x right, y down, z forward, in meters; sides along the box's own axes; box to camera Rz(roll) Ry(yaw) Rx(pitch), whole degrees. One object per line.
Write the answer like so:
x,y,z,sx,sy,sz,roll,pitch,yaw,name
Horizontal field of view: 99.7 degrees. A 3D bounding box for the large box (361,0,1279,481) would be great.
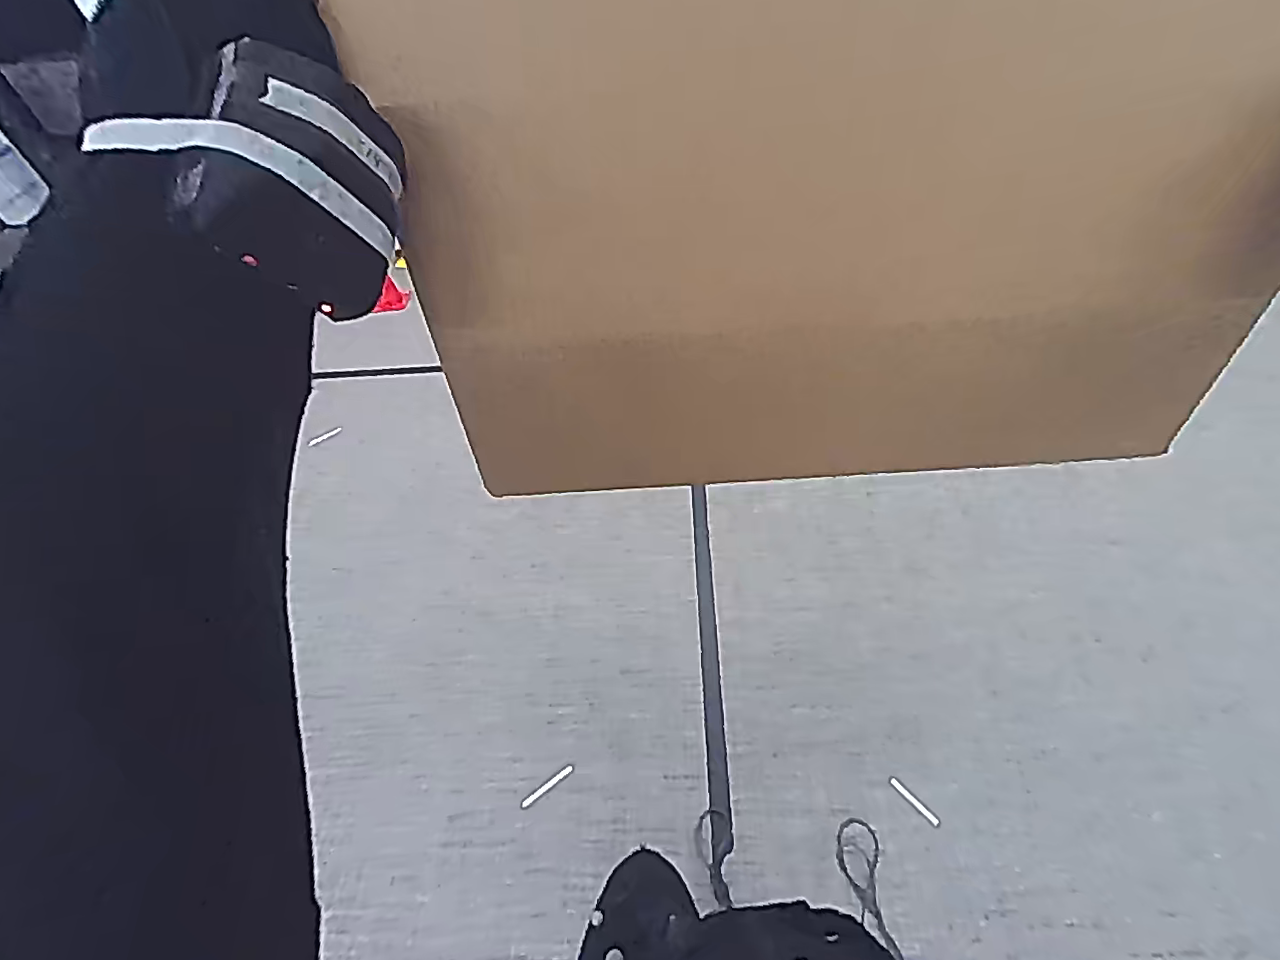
0.092,-0.220,0.357,0.408,0.320,0.320,-3,41,1,large box
